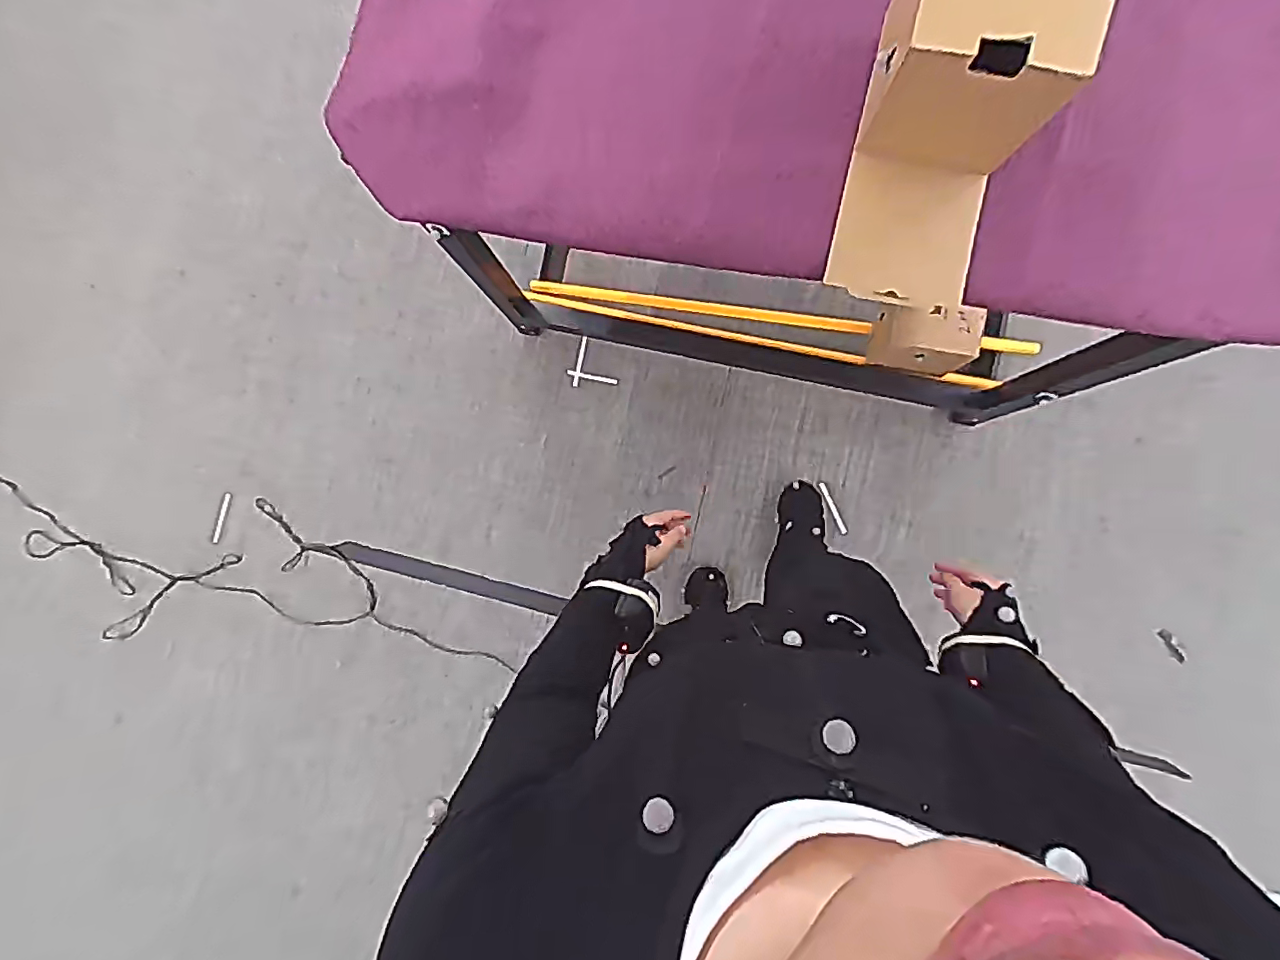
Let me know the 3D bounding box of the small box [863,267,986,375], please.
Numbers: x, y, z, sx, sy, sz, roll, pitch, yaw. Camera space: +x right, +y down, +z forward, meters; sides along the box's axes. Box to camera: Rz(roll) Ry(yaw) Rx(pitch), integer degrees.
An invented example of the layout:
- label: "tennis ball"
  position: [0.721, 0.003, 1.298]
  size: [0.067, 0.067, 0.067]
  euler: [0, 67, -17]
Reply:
- label: "small box"
  position: [0.605, -0.336, 1.174]
  size: [0.179, 0.176, 0.168]
  euler: [11, 88, 6]

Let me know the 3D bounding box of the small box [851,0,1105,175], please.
- label: "small box"
  position: [0.346, -0.461, 0.567]
  size: [0.168, 0.179, 0.176]
  euler: [13, 95, 4]
